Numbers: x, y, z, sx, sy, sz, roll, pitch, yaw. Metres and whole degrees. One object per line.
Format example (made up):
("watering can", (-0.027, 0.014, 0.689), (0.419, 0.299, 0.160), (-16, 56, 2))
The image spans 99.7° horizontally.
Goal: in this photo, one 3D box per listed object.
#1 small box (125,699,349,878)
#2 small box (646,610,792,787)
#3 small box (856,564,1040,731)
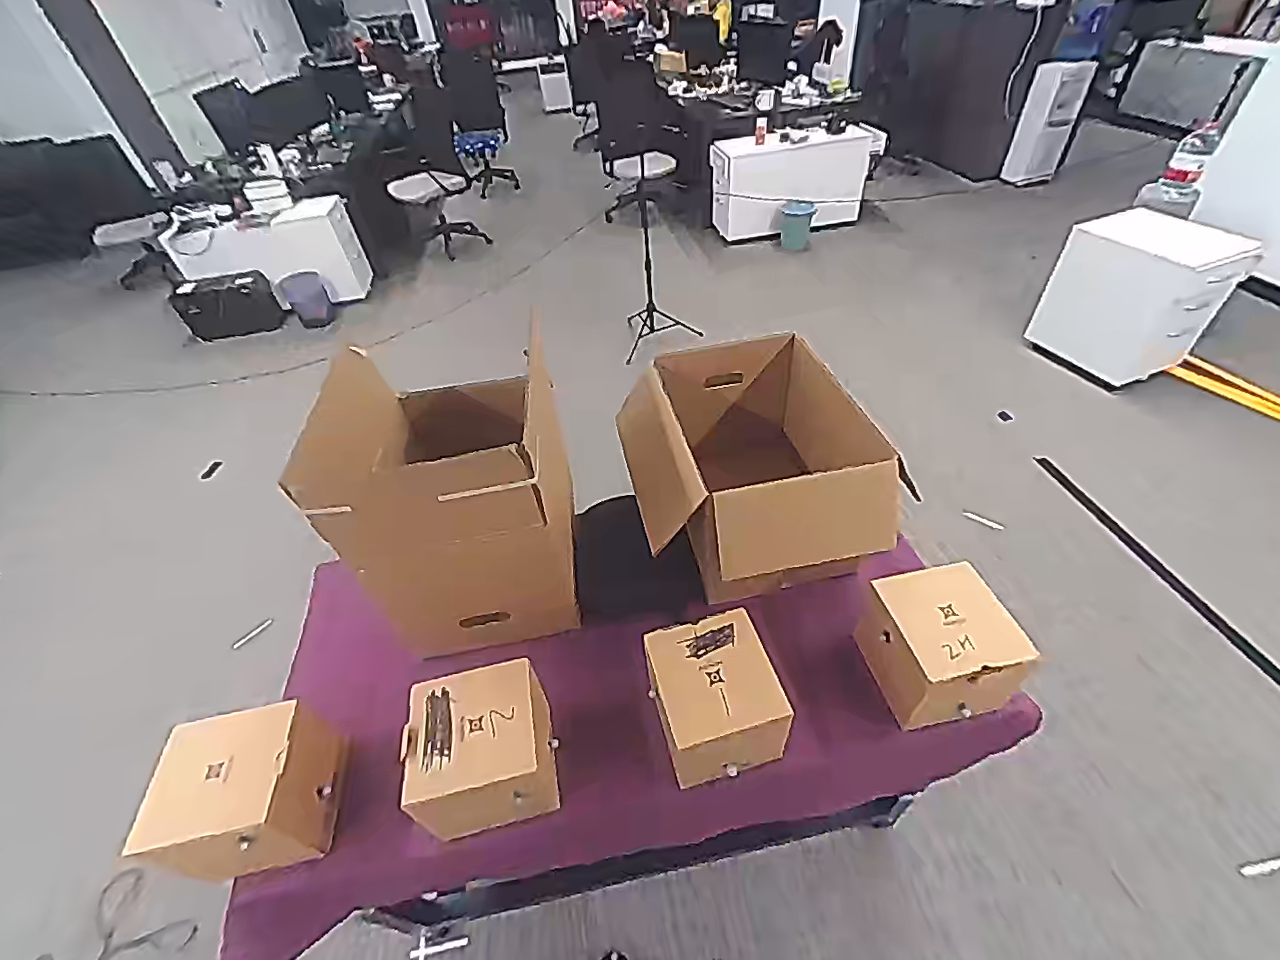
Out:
("small box", (-0.562, 0.450, 0.786), (0.179, 0.176, 0.168), (-10, 44, -6))
("small box", (0.111, 0.332, 0.825), (0.168, 0.176, 0.179), (-14, 45, -7))
("small box", (0.463, 0.263, 0.851), (0.168, 0.176, 0.179), (-11, 44, -3))
